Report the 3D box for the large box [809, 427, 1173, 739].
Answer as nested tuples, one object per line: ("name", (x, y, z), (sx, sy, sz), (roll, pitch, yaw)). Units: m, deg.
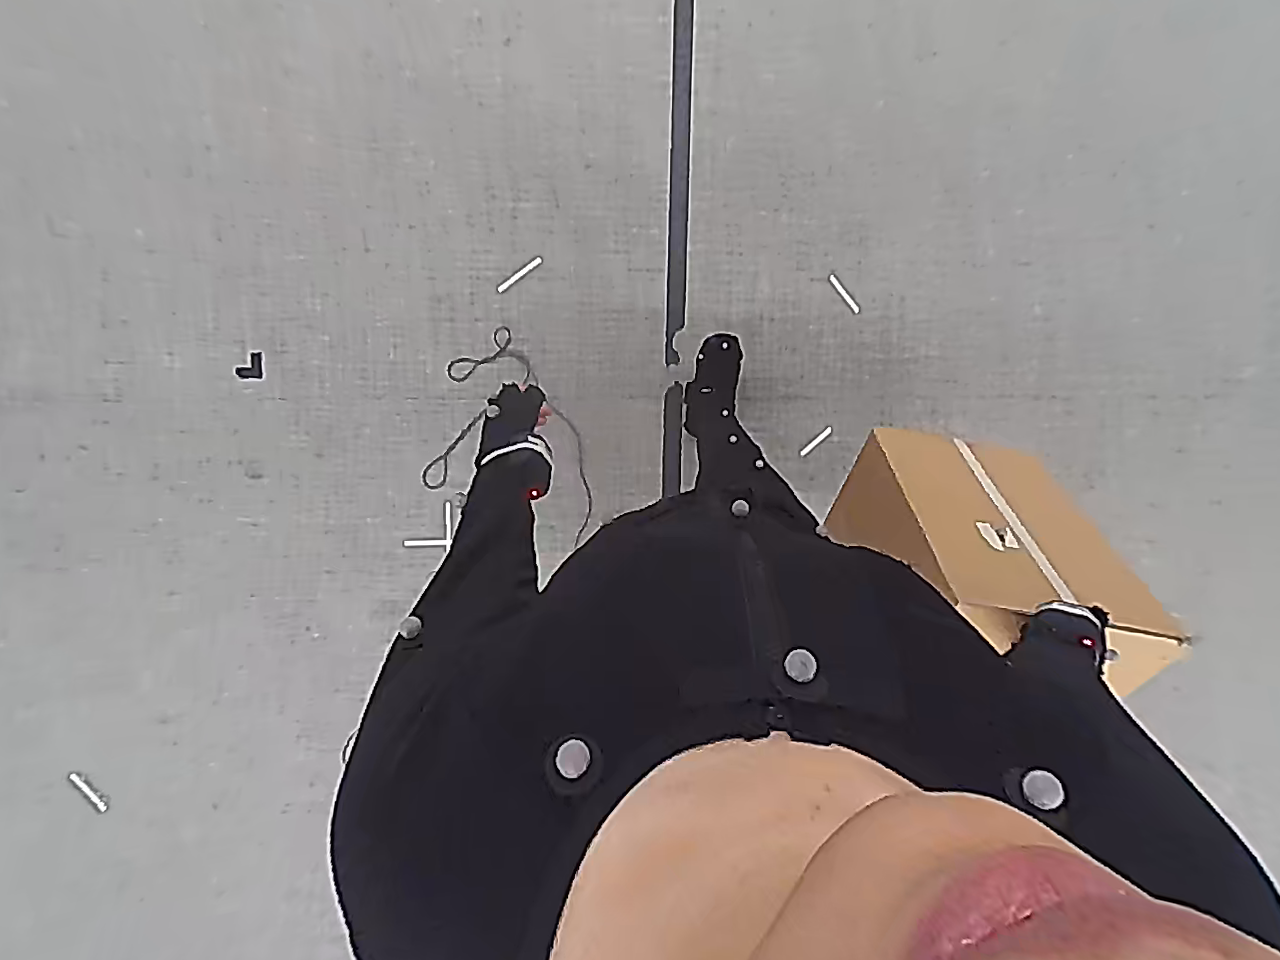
("large box", (0.531, 0.166, 0.940), (0.320, 0.408, 0.320), (10, 129, -4))
